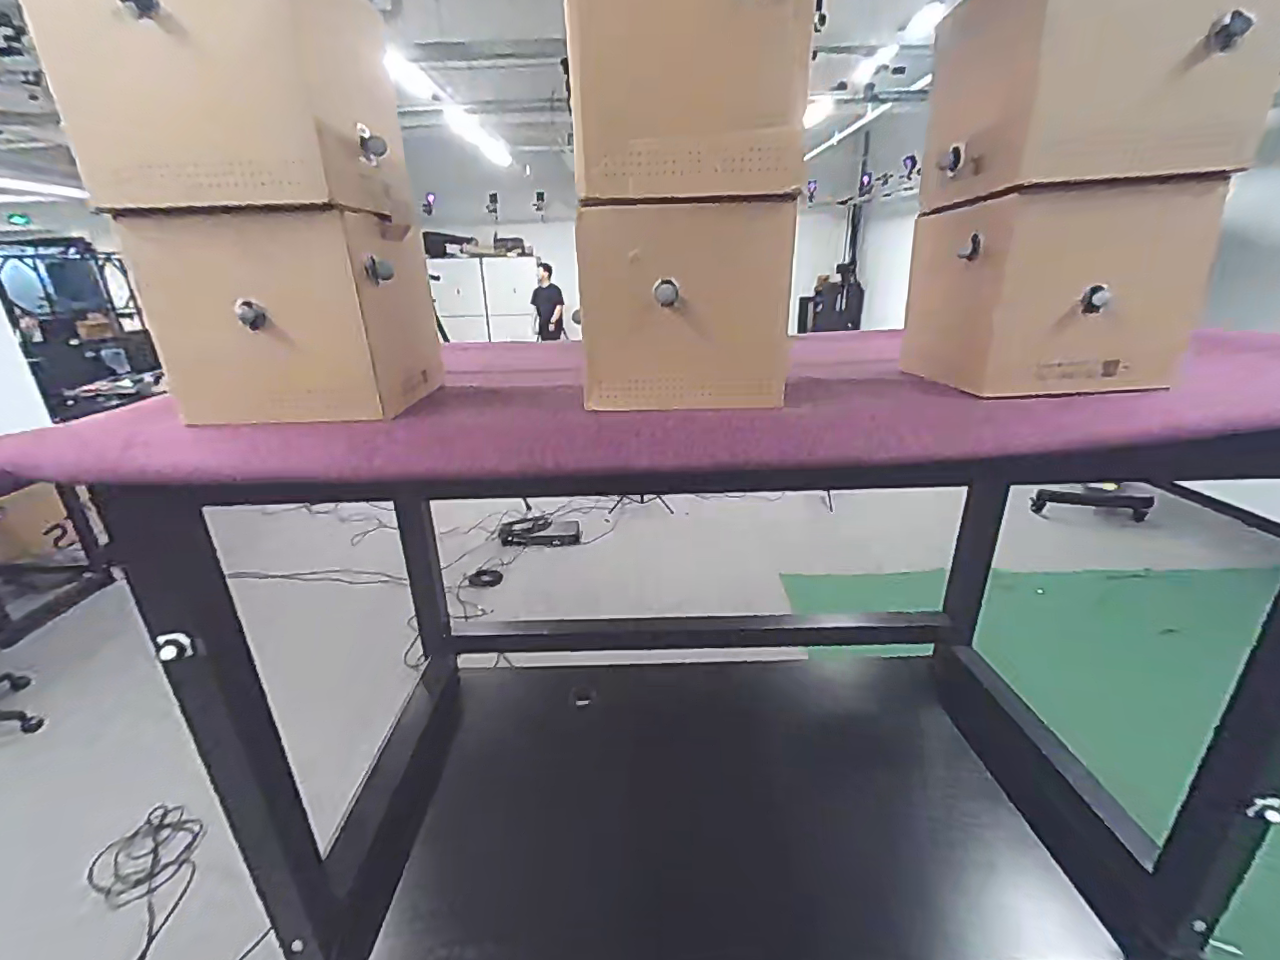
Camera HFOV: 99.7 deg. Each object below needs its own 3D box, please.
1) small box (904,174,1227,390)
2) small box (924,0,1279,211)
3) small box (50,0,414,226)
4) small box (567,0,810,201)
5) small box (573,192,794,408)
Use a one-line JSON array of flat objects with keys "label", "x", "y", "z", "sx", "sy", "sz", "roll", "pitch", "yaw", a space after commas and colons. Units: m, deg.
[{"label": "small box", "x": 0.380, "y": -0.182, "z": 0.525, "sx": 0.168, "sy": 0.176, "sz": 0.179, "roll": -2, "pitch": 20, "yaw": 2}, {"label": "small box", "x": 0.369, "y": -0.330, "z": 0.456, "sx": 0.179, "sy": 0.176, "sz": 0.168, "roll": -4, "pitch": 18, "yaw": 2}, {"label": "small box", "x": -0.309, "y": -0.306, "z": 0.438, "sx": 0.179, "sy": 0.176, "sz": 0.168, "roll": -1, "pitch": 22, "yaw": 0}, {"label": "small box", "x": 0.039, "y": -0.319, "z": 0.455, "sx": 0.179, "sy": 0.176, "sz": 0.168, "roll": 1, "pitch": 21, "yaw": 4}, {"label": "small box", "x": 0.039, "y": -0.168, "z": 0.519, "sx": 0.179, "sy": 0.176, "sz": 0.168, "roll": -1, "pitch": 22, "yaw": 2}]
